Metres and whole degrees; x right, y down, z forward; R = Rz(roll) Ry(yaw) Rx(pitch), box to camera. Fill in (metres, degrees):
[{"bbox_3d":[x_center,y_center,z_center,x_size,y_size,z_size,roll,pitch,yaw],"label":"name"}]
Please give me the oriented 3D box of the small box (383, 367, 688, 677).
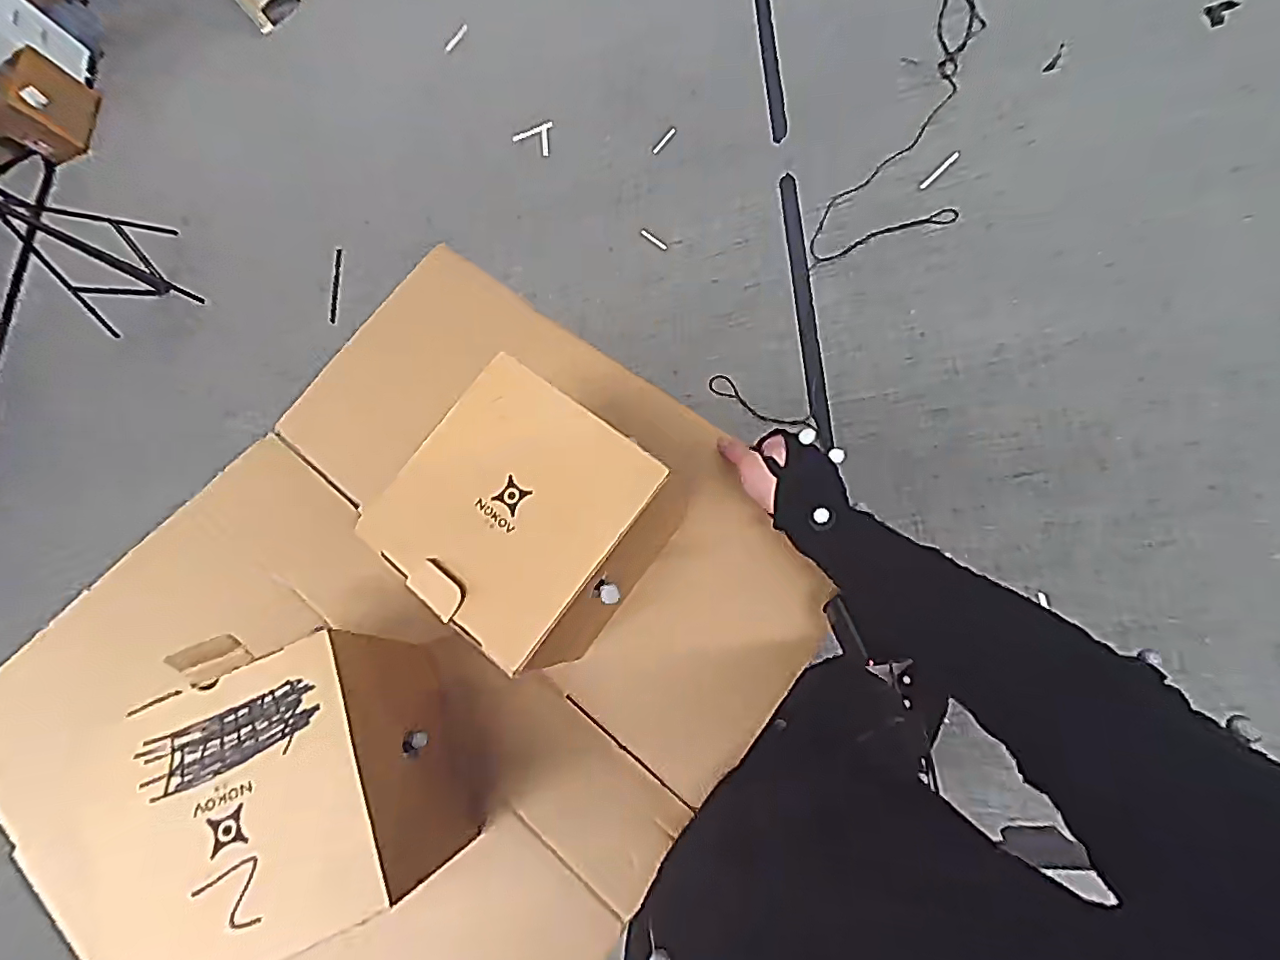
[{"bbox_3d":[-0.071,0.041,0.475,0.168,0.176,0.179,36,84,16],"label":"small box"}]
